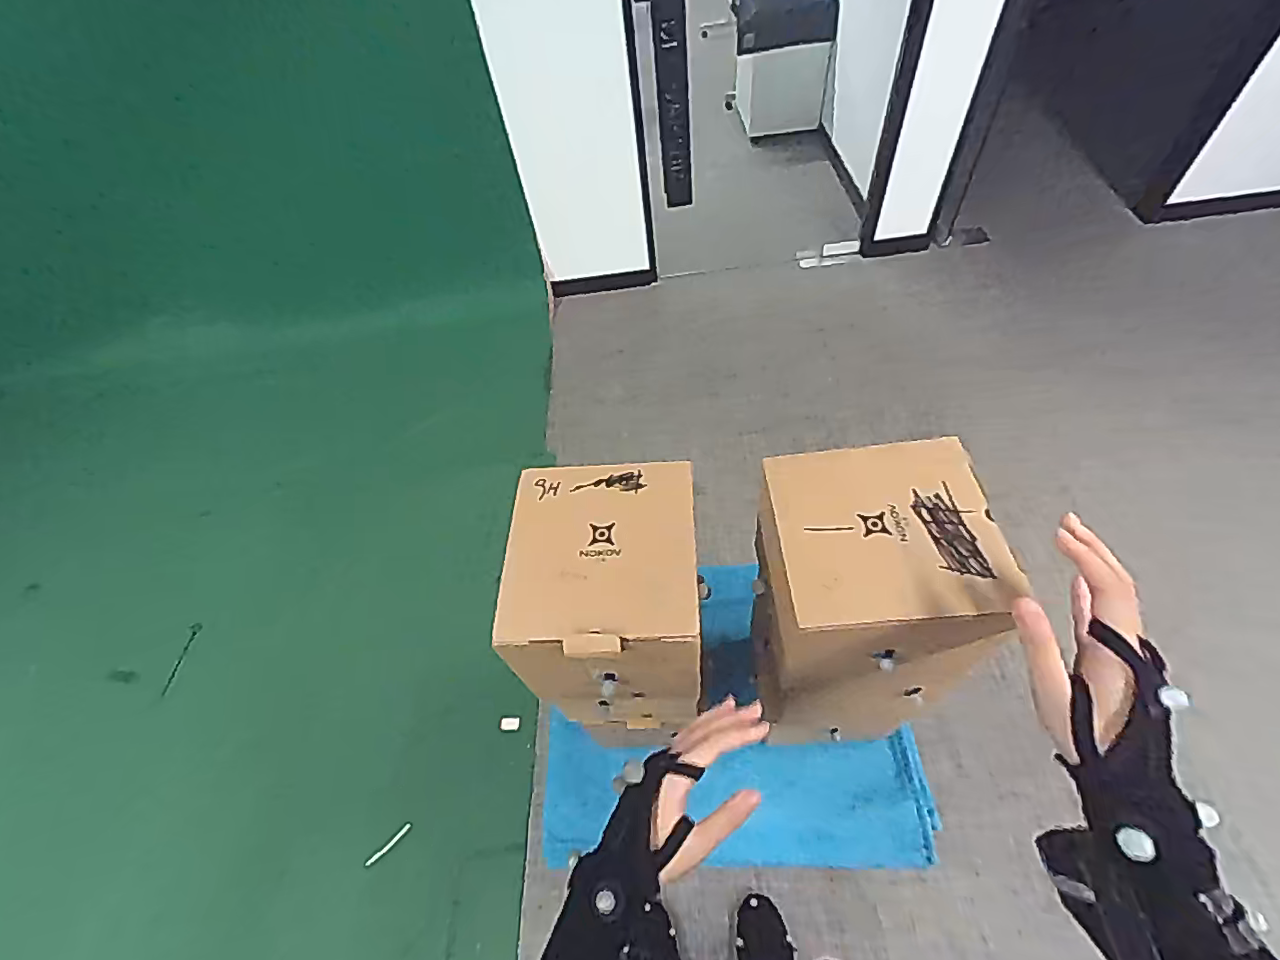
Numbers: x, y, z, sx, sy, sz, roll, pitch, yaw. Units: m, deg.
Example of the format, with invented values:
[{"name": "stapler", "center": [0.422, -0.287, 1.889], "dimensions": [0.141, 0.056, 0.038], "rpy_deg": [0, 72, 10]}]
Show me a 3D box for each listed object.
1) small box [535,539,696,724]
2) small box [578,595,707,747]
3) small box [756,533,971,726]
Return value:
[{"name": "small box", "center": [-0.017, 0.190, 0.663], "dimensions": [0.168, 0.176, 0.179], "rpy_deg": [-2, 52, 6]}, {"name": "small box", "center": [0.012, 0.284, 0.792], "dimensions": [0.168, 0.176, 0.179], "rpy_deg": [-2, 53, 5]}, {"name": "small box", "center": [0.238, 0.179, 0.630], "dimensions": [0.179, 0.176, 0.168], "rpy_deg": [-6, 53, 5]}]
